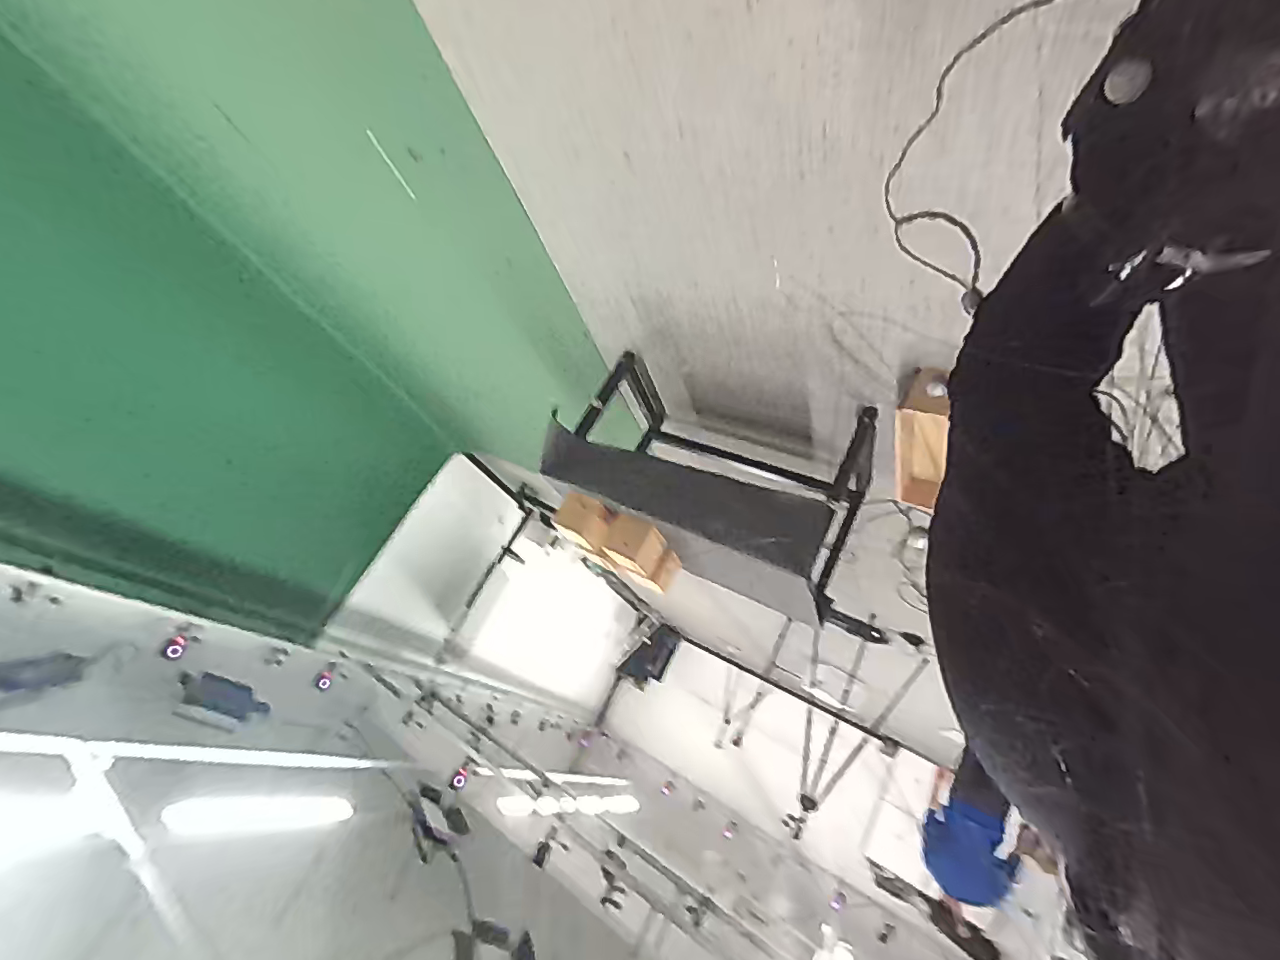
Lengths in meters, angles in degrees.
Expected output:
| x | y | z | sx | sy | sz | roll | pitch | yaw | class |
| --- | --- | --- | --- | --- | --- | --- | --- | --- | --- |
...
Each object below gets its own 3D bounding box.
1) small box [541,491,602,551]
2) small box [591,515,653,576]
| x | y | z | sx | sy | sz | roll | pitch | yaw | class |
| --- | --- | --- | --- | --- | --- | --- | --- | --- | --- |
| -0.286 | 0.174 | 2.310 | 0.168 | 0.176 | 0.179 | 20 | 159 | 25 | small box |
| -0.063 | 0.263 | 2.205 | 0.179 | 0.176 | 0.168 | 19 | 158 | 31 | small box |
